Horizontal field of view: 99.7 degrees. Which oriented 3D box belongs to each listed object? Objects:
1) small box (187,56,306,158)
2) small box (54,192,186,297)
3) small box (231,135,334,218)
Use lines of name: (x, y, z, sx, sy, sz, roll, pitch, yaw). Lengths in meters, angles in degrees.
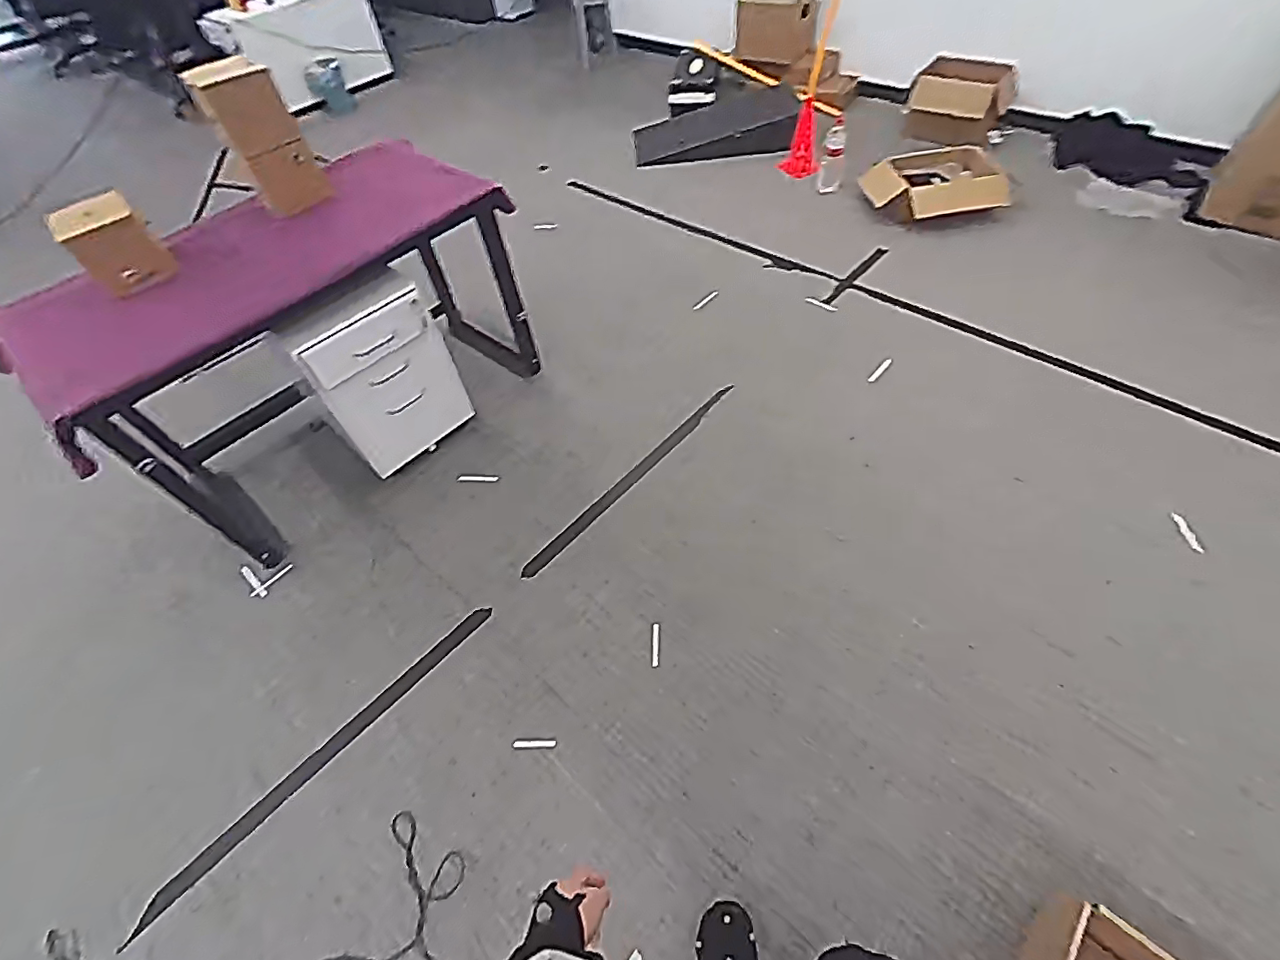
small box: (-1.052, -1.003, 1.458, 0.179, 0.176, 0.168, -39, 61, -20)
small box: (-1.336, -0.606, 1.398, 0.168, 0.176, 0.179, -38, 62, -20)
small box: (-1.039, -0.907, 1.591, 0.179, 0.176, 0.168, -40, 60, -21)
